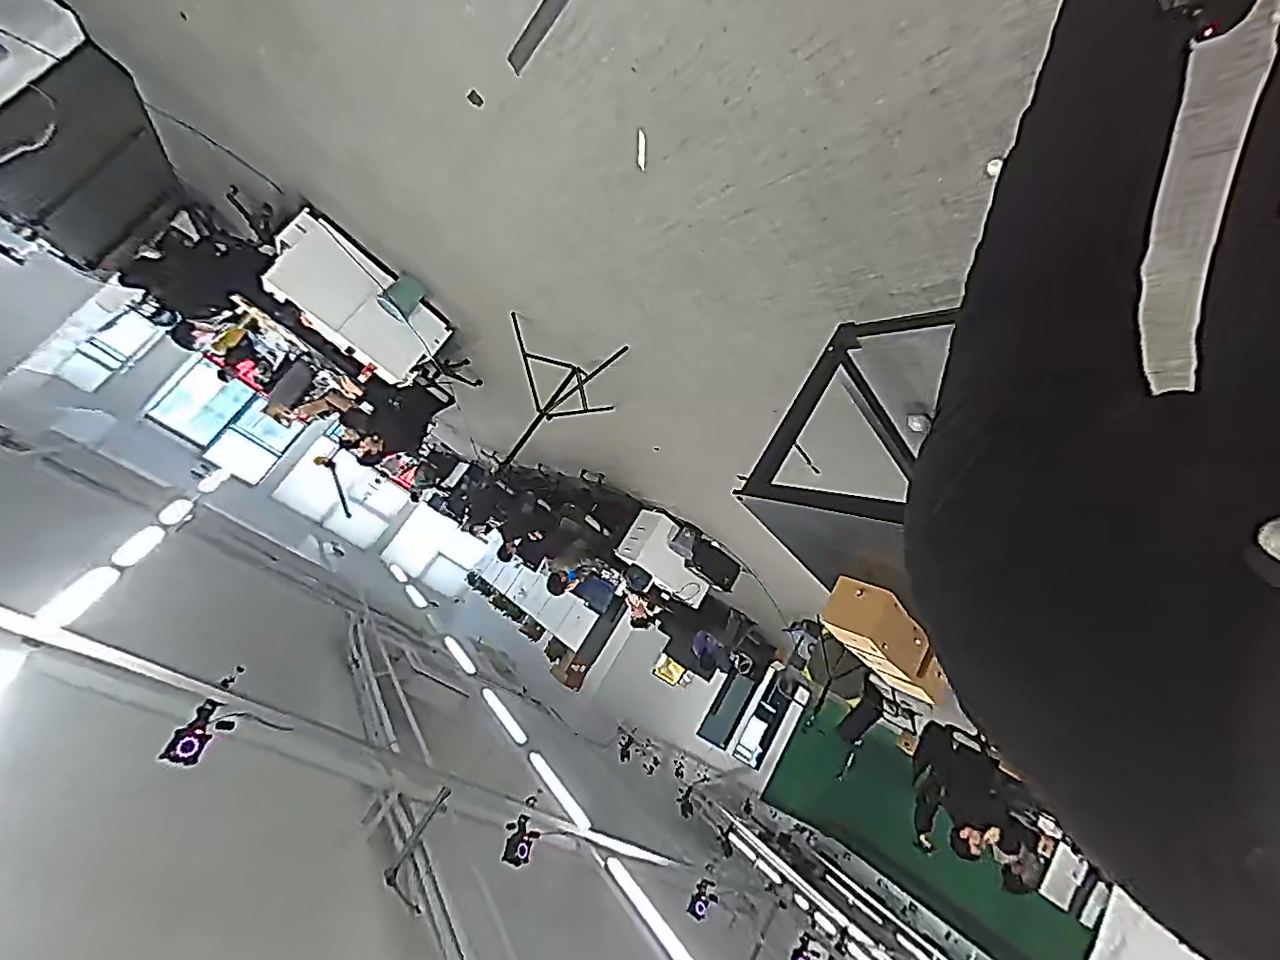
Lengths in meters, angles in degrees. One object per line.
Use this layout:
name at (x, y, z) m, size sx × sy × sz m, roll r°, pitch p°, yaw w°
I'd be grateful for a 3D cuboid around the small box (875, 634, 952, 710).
small box at (0.965, 0.663, 1.891) m, size 0.168 × 0.176 × 0.179 m, roll 44°, pitch 162°, yaw -32°
